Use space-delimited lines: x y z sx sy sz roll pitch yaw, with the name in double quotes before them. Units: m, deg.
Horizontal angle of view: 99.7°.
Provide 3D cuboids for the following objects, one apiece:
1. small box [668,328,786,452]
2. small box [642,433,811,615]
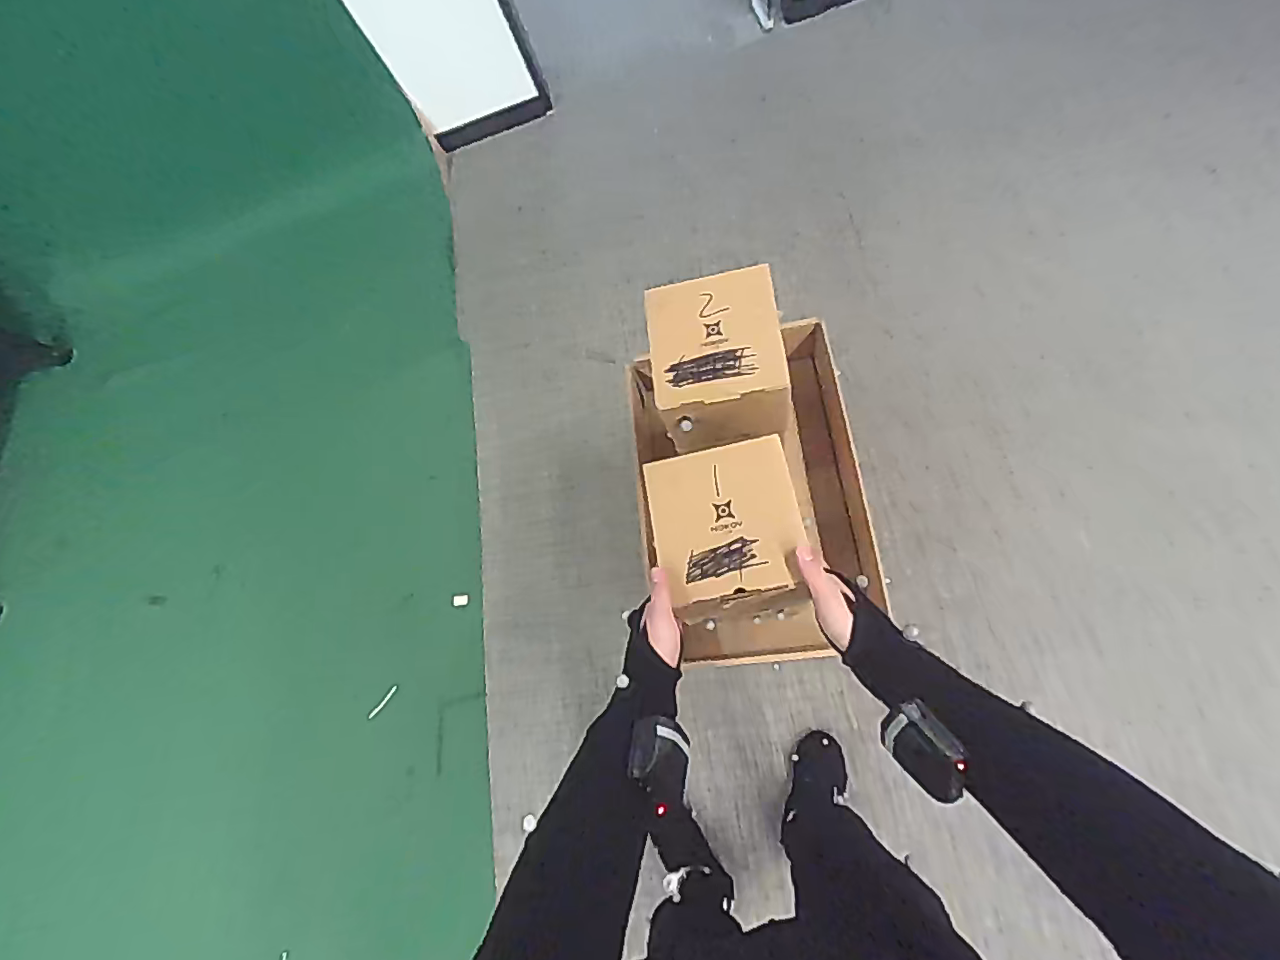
"small box" 0.146 -0.125 0.913 0.168 0.176 0.179 -9 74 11
"small box" 0.110 0.068 0.677 0.168 0.176 0.179 -12 66 9
